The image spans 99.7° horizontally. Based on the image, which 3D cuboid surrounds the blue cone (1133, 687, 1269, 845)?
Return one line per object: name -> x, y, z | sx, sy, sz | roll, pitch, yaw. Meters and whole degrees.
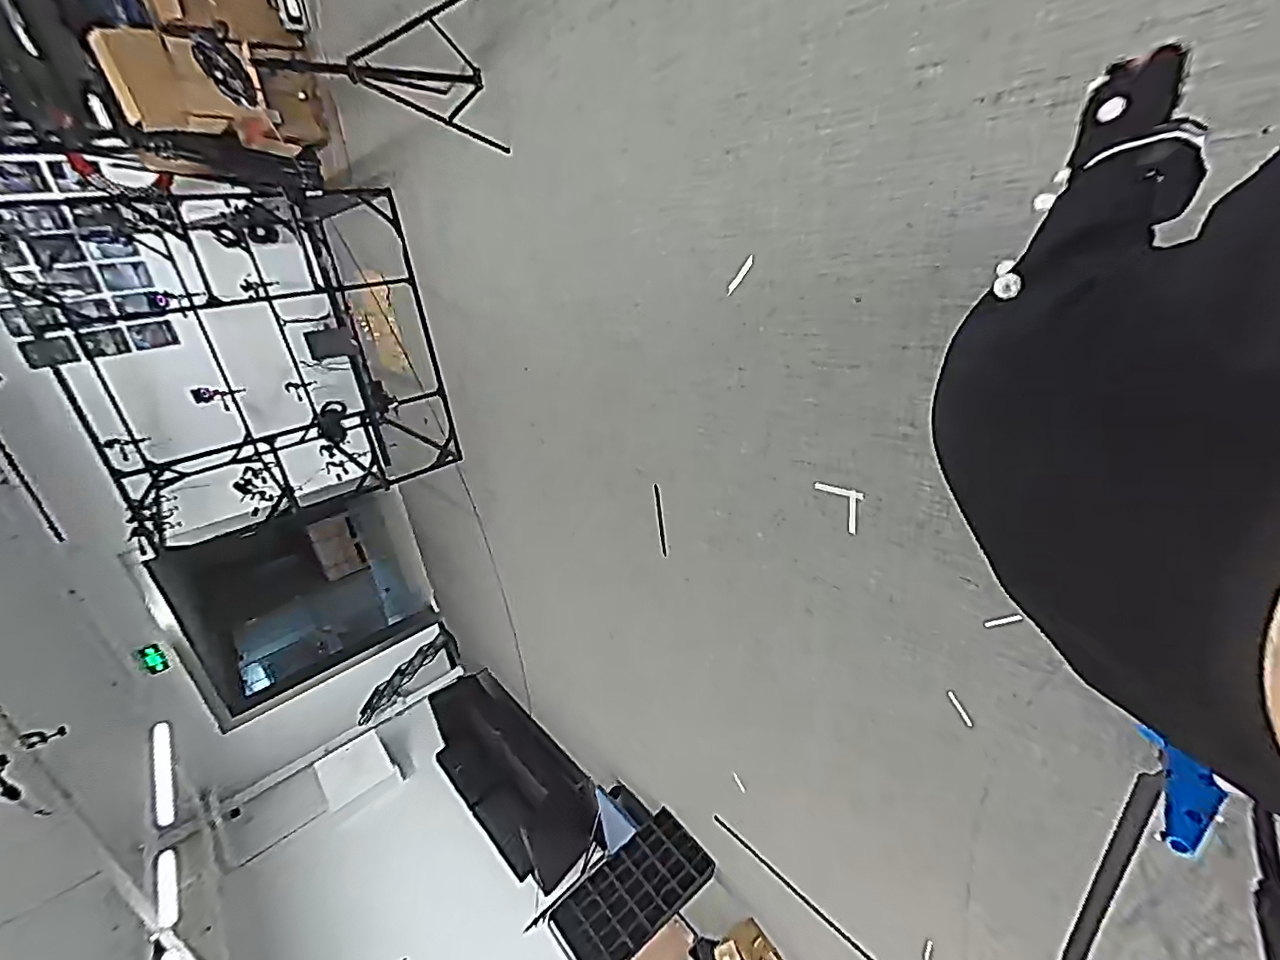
blue cone -> 1.183, 0.652, 1.174 | 0.192, 0.380, 0.193 | 37, 136, 35
